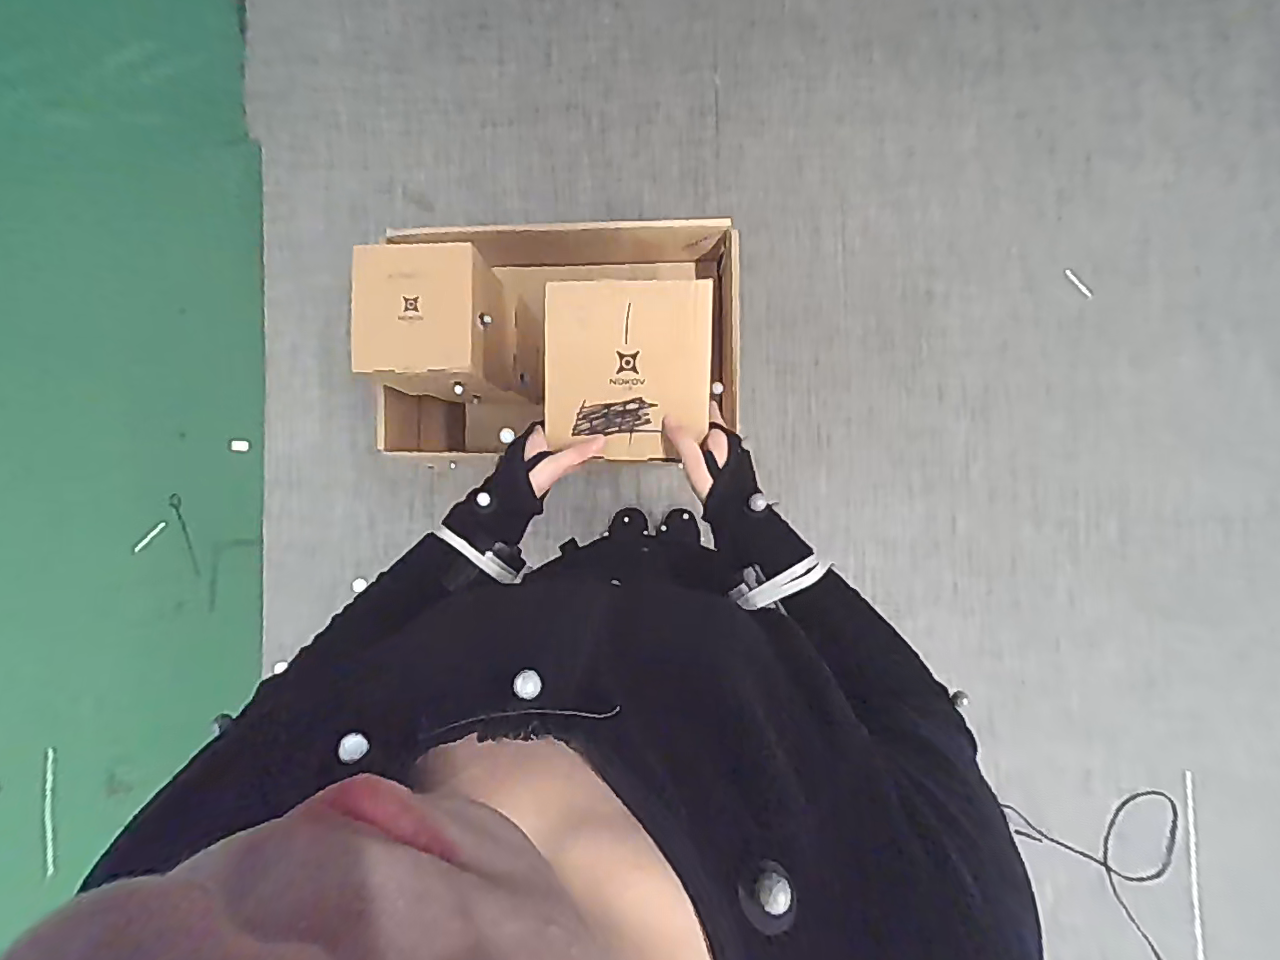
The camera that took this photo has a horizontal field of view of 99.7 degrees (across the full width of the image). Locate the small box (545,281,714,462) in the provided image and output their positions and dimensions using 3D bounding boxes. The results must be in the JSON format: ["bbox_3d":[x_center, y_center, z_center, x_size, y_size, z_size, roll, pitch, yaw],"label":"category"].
[{"bbox_3d":[-0.003,-0.116,0.612,0.168,0.176,0.179,2,96,7],"label":"small box"}]

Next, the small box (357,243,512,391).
[{"bbox_3d":[-0.296,-0.232,0.810,0.168,0.176,0.179,1,89,4],"label":"small box"}]
